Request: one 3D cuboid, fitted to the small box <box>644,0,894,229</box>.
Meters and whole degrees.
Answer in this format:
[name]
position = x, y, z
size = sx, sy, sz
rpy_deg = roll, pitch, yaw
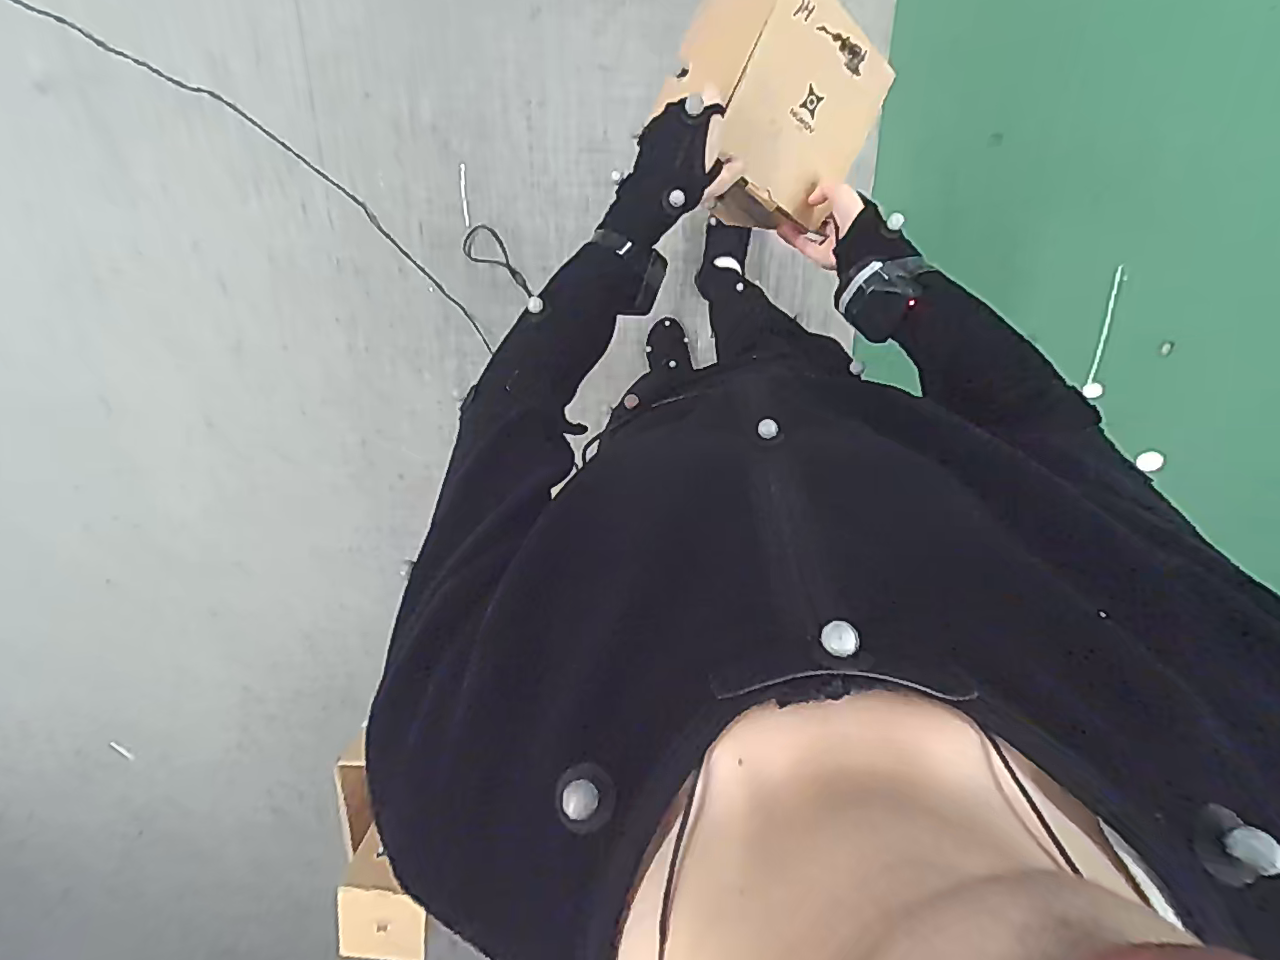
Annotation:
[small box]
position = 0.125, -0.406, 0.593
size = 0.168, 0.176, 0.179
rpy_deg = 17, 109, -34
